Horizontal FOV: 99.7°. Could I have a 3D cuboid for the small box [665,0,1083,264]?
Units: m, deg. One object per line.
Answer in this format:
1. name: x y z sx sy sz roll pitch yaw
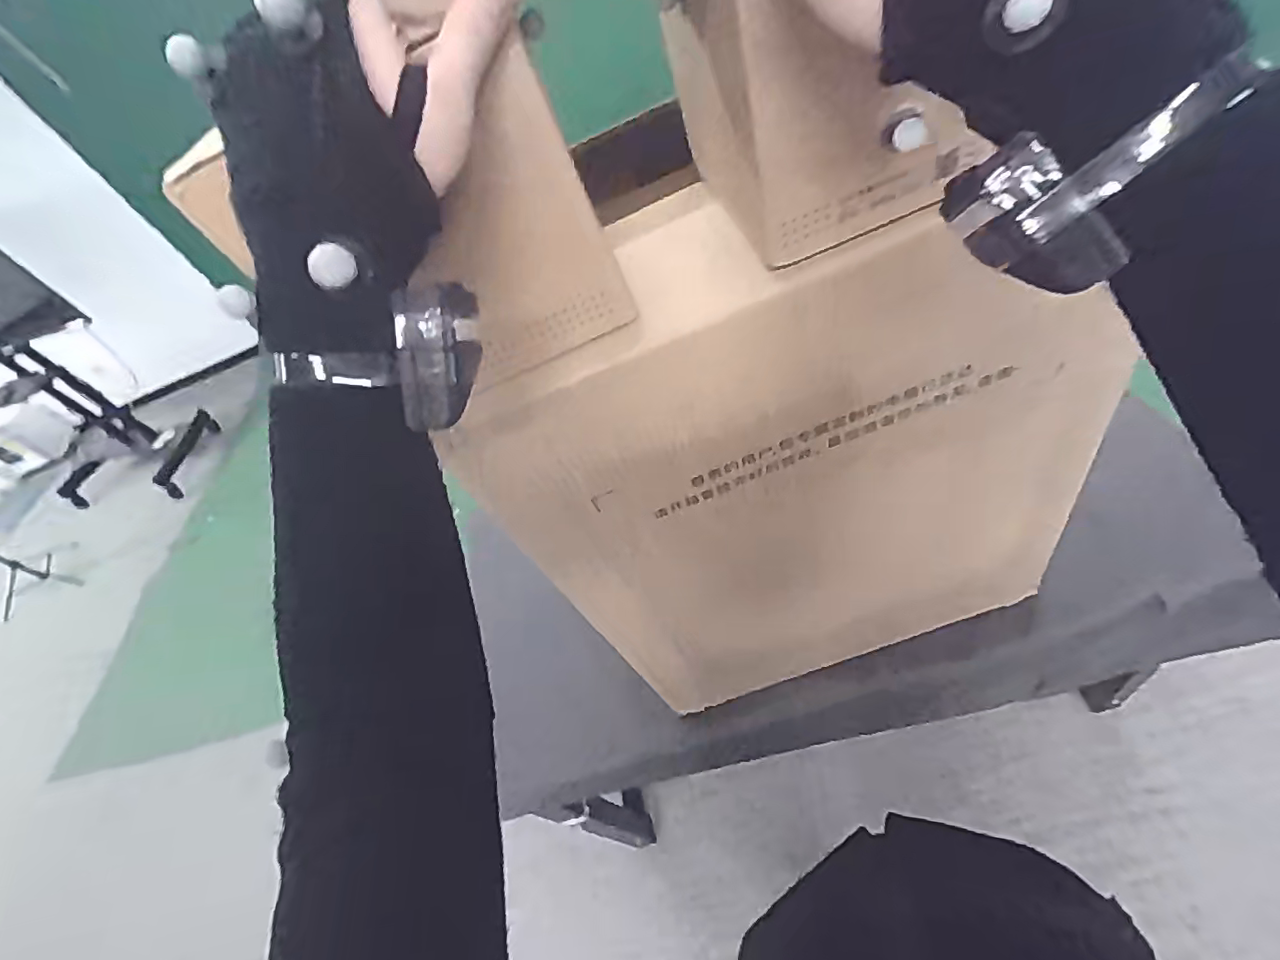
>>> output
1. small box: 0.115 -0.261 0.312 0.168 0.176 0.179 -22 51 7
